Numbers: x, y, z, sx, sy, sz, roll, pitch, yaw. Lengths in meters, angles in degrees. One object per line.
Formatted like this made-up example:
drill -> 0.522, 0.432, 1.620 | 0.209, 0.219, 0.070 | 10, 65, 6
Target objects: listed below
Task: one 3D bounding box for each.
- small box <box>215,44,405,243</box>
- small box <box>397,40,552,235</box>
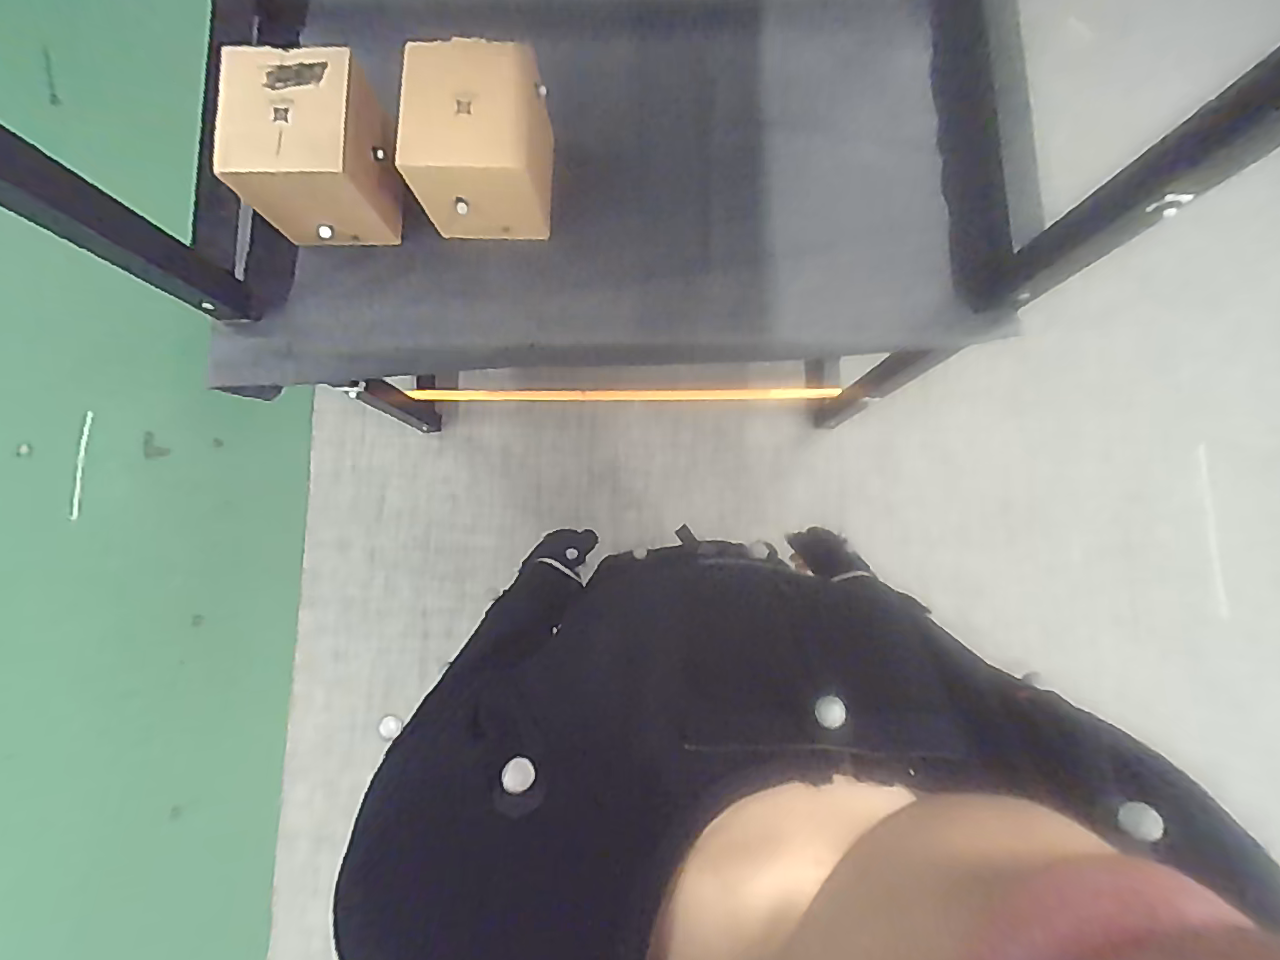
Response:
small box -> -0.449, -0.464, 0.764 | 0.168, 0.176, 0.179 | 0, 83, 0
small box -> -0.221, -0.472, 0.766 | 0.168, 0.176, 0.179 | 1, 82, 0
